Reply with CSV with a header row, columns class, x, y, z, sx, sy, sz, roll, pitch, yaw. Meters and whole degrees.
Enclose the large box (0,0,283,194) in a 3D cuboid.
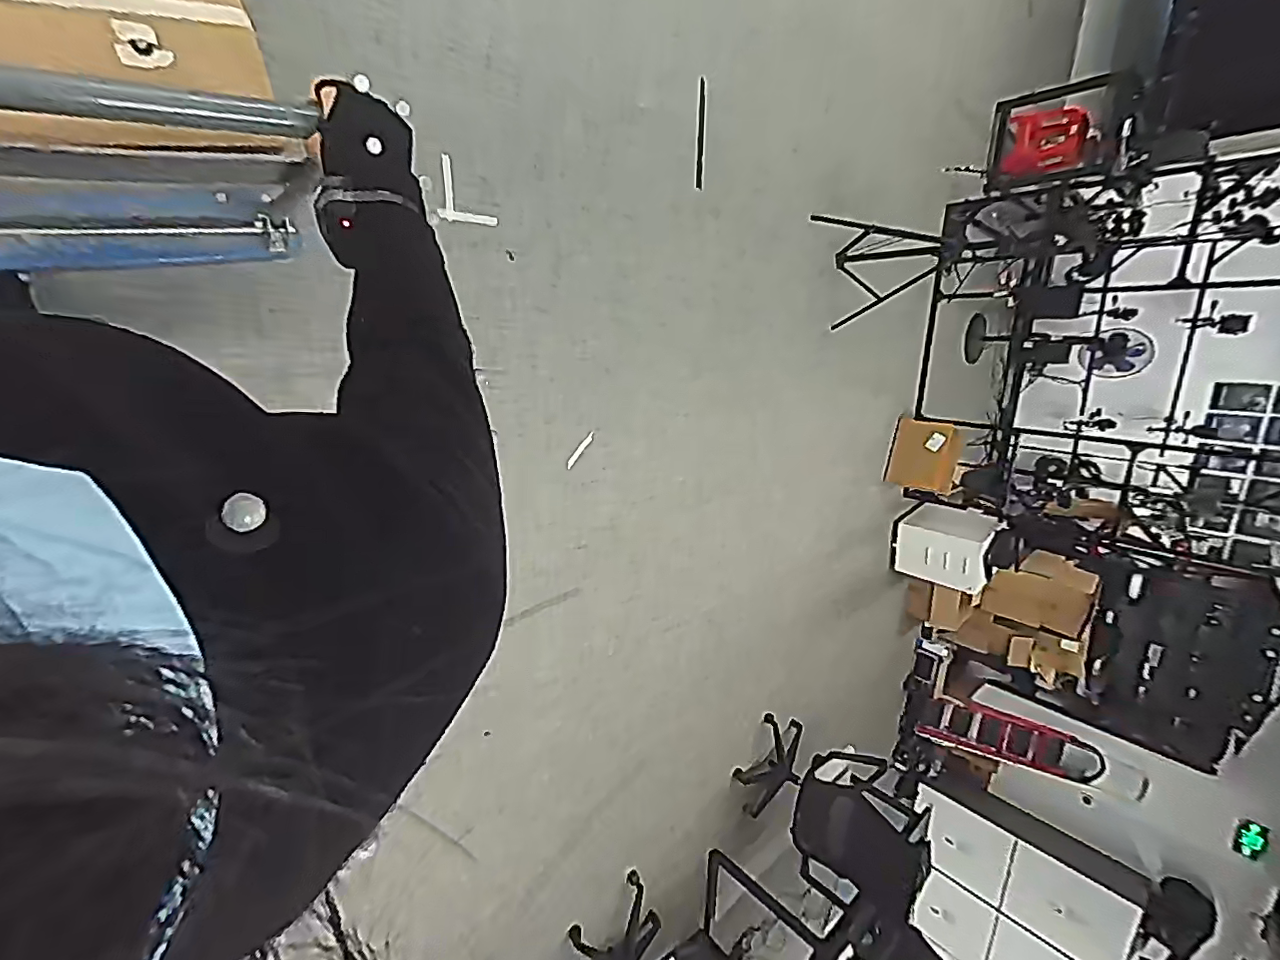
class,x,y,z,sx,sy,sz,roll,pitch,yaw
large box,-0.805,-0.601,0.743,0.408,0.320,0.320,-28,120,-38
